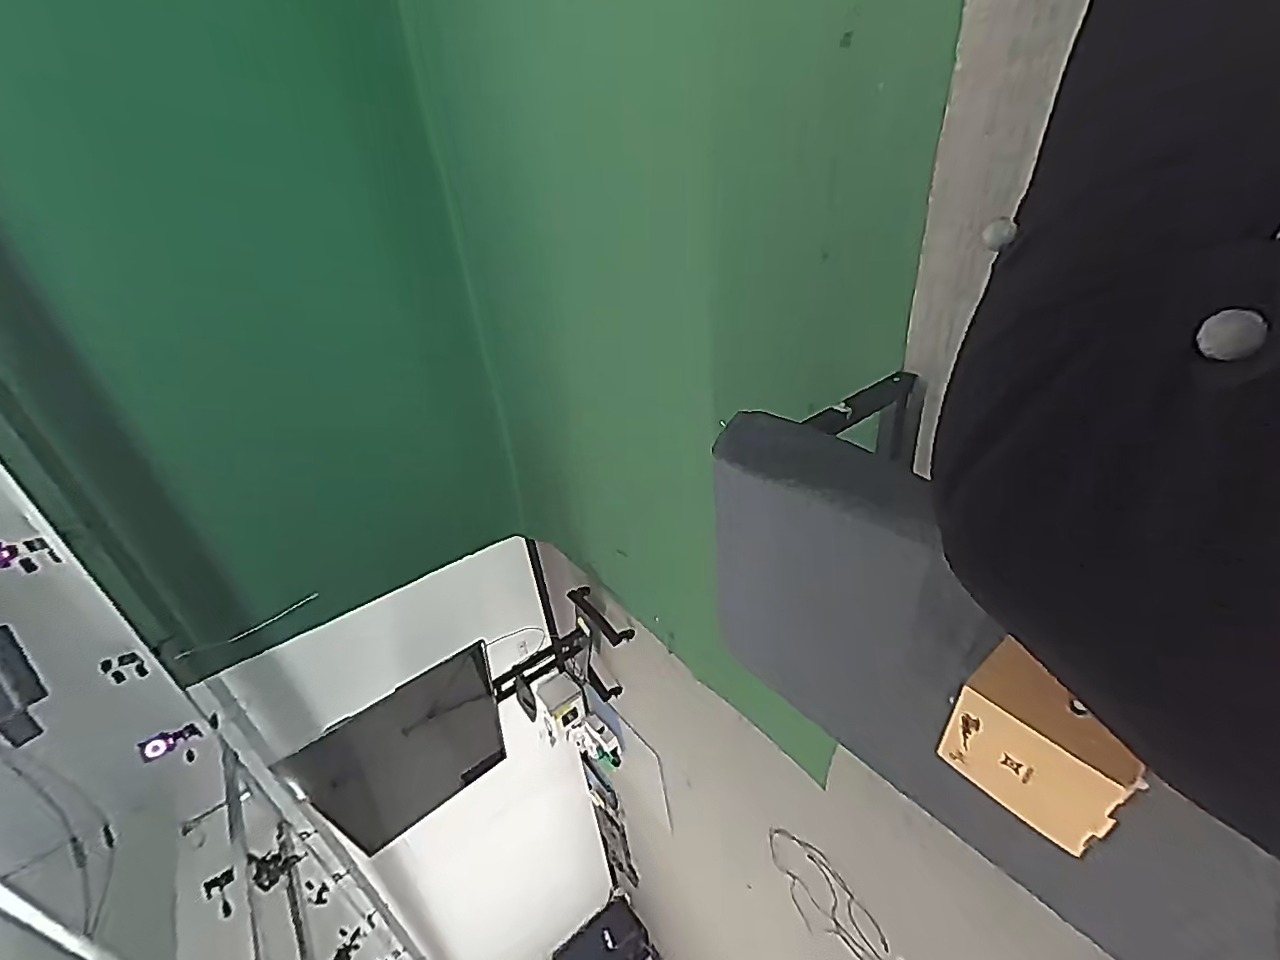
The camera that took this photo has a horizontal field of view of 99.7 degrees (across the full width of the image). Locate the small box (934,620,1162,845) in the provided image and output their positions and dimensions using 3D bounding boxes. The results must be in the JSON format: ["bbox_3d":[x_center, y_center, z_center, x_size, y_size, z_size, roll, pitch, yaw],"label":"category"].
[{"bbox_3d":[0.535,0.321,0.719,0.179,0.176,0.168,33,140,43],"label":"small box"}]
